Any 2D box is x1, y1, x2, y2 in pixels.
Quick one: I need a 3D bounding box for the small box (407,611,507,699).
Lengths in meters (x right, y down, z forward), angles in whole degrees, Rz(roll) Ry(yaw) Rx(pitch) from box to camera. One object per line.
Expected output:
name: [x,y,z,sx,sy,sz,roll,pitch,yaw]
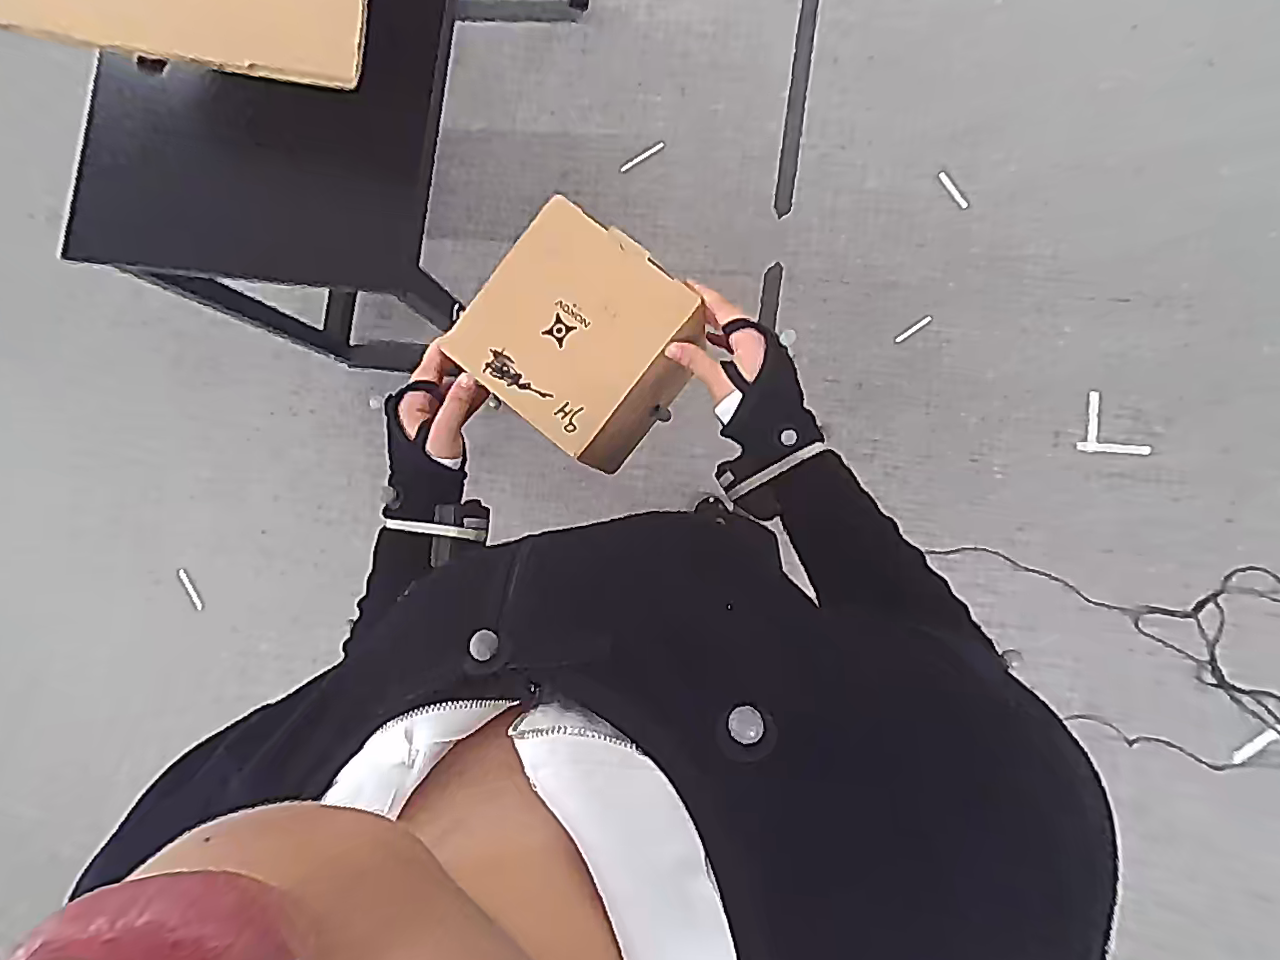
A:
small box: [-0.427,0.409,1.288,0.179,0.176,0.168,0,86,7]
